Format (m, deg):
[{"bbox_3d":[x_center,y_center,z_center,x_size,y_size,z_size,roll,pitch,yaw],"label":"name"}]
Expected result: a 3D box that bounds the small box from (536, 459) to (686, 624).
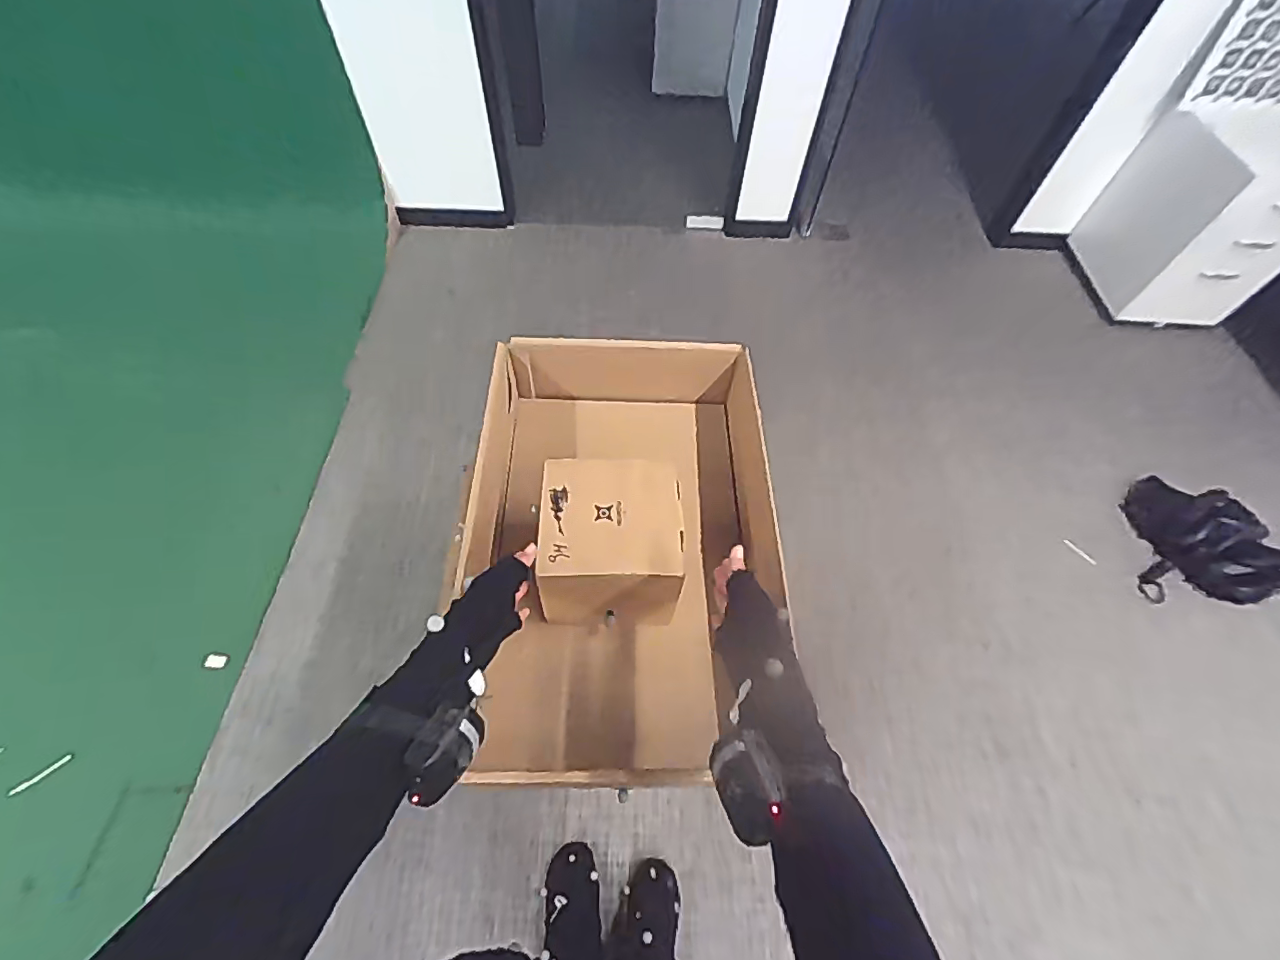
[{"bbox_3d":[-0.040,0.088,0.730,0.179,0.176,0.168,1,56,-4],"label":"small box"}]
